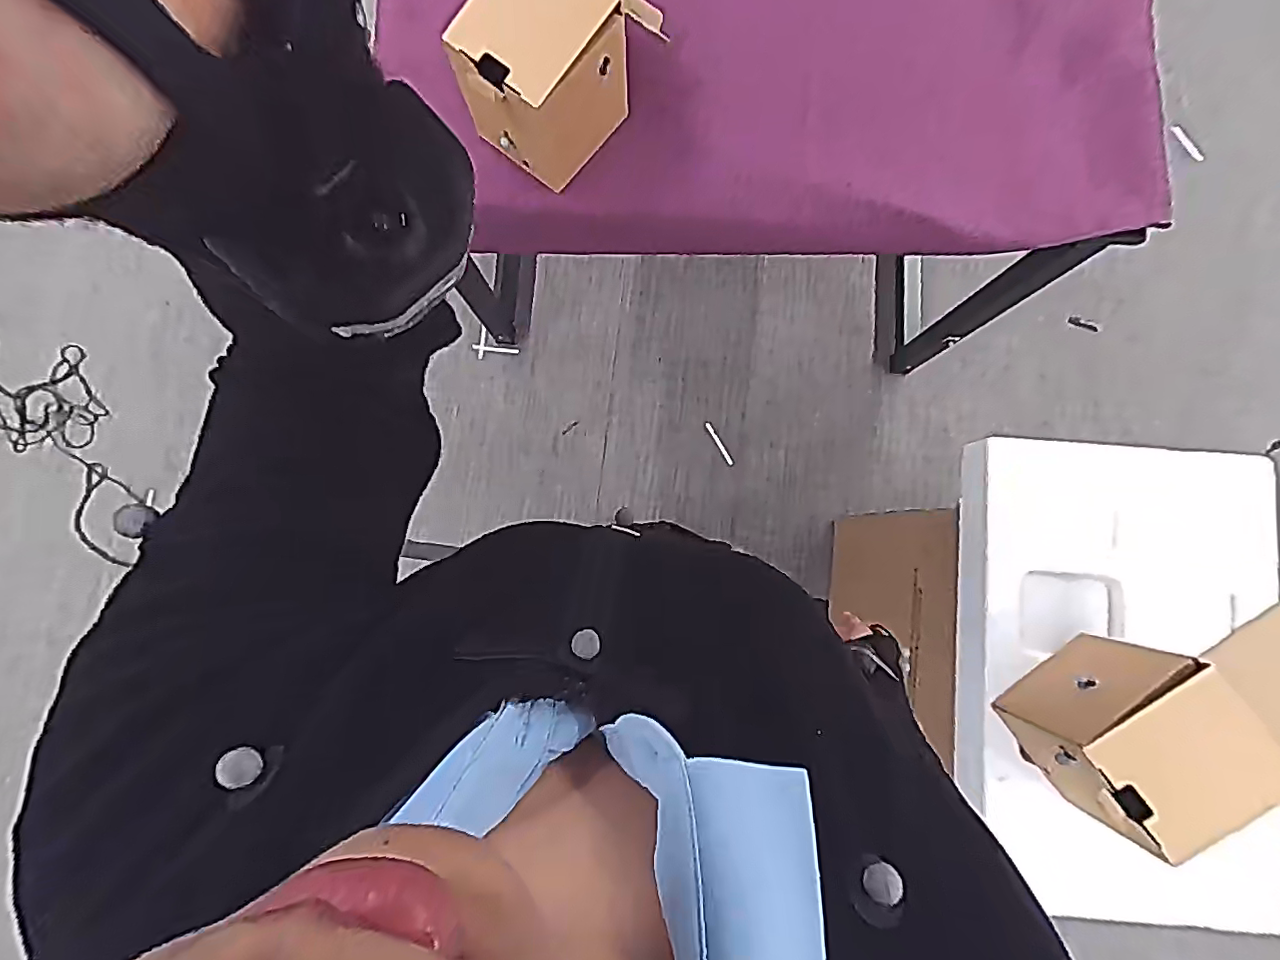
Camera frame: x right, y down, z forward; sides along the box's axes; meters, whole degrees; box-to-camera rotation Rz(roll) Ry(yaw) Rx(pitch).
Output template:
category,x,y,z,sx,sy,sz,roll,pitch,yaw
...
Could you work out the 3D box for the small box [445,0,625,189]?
category,x,y,z,sx,sy,sz,roll,pitch,yaw
small box,-0.136,-0.570,0.773,0.168,0.176,0.179,39,85,5
